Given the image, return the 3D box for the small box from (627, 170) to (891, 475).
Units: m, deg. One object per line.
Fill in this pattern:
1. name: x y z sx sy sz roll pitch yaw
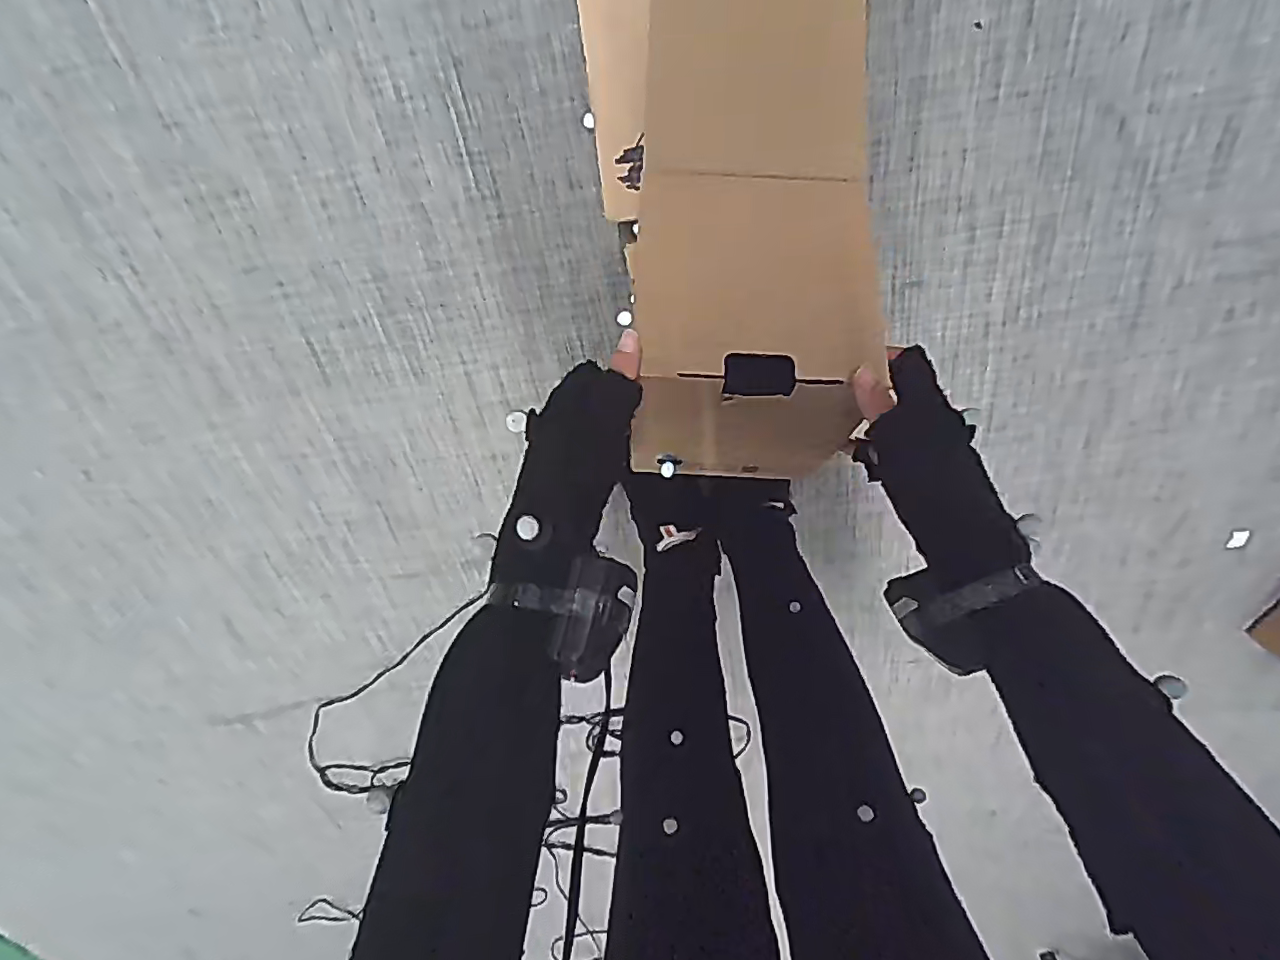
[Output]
1. small box: 0.079 -0.113 0.437 0.168 0.179 0.176 3 159 1
